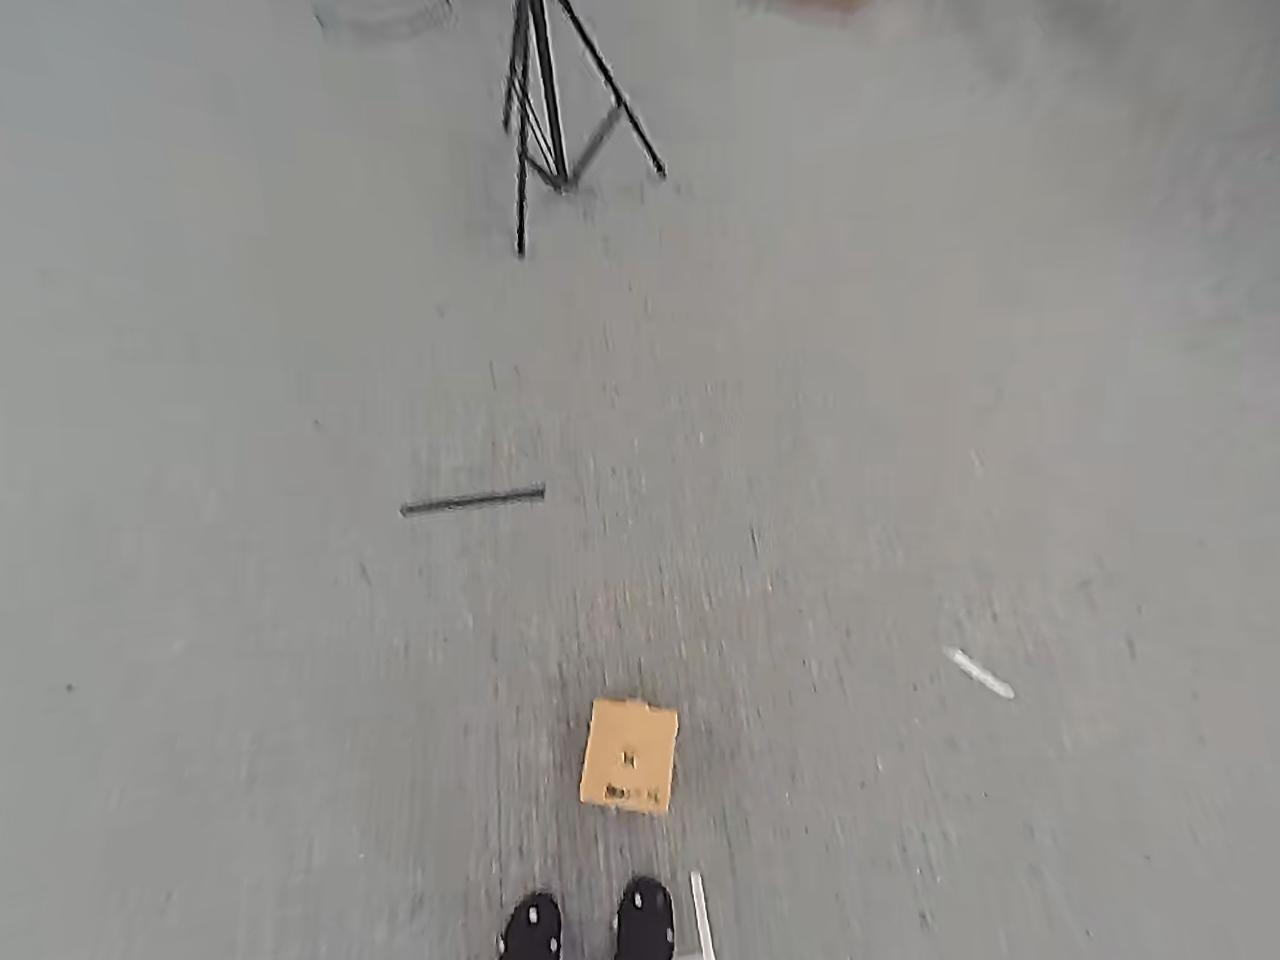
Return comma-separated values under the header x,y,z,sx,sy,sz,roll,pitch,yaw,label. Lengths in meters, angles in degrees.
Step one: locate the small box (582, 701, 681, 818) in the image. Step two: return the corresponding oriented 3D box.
x,y,z,sx,sy,sz,roll,pitch,yaw,label
-0.016,0.551,1.083,0.168,0.176,0.179,8,66,3,small box
